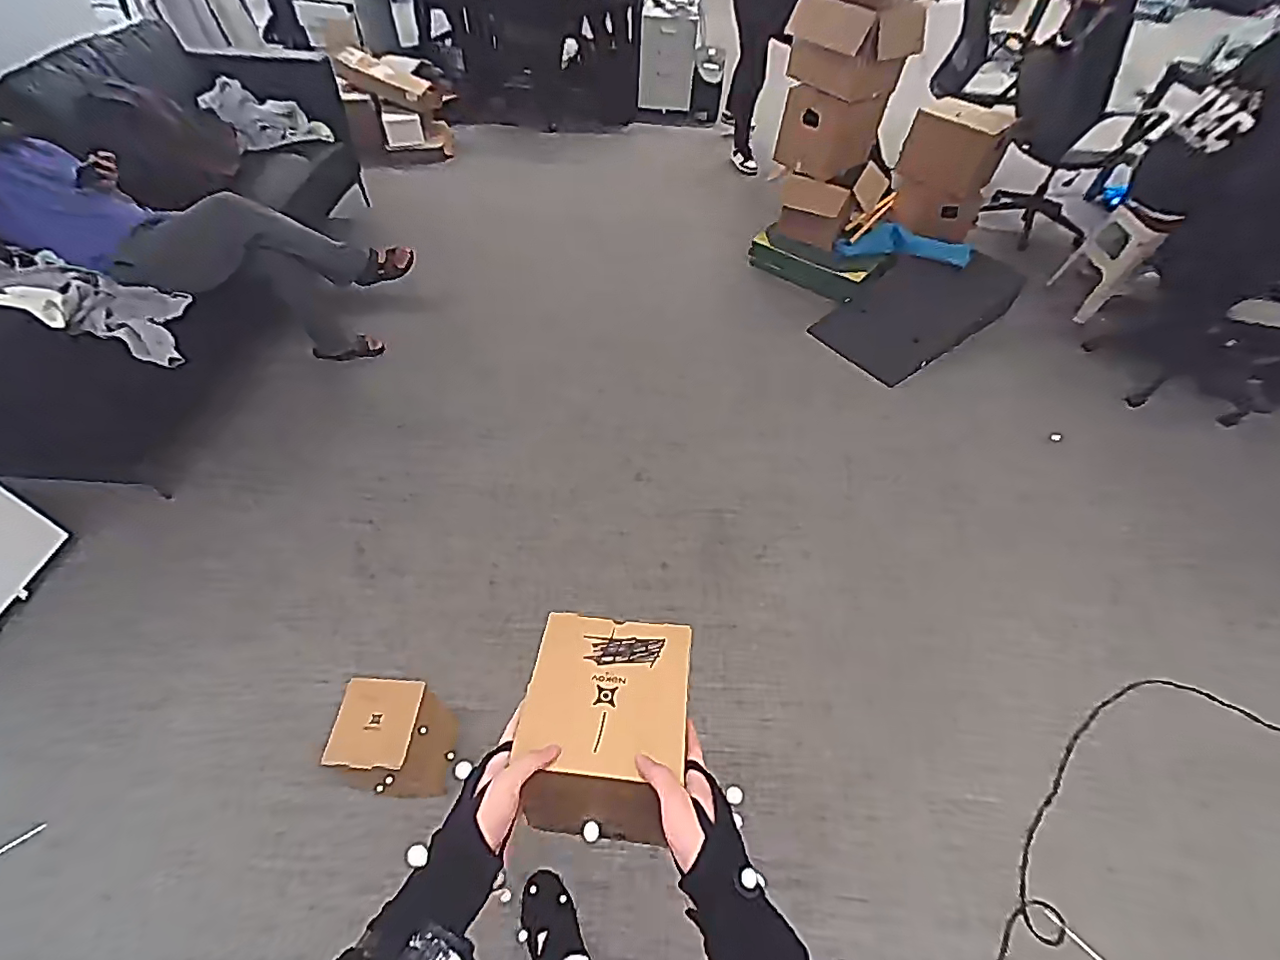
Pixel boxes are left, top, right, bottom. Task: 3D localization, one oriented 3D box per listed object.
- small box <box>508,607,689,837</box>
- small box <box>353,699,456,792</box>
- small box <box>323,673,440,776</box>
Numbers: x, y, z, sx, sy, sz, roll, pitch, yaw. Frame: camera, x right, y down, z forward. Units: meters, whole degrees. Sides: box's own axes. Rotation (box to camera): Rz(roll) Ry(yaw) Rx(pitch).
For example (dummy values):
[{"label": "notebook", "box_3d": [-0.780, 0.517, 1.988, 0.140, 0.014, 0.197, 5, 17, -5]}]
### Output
[{"label": "small box", "box_3d": [-0.036, 0.272, 0.615, 0.168, 0.176, 0.179, 4, 41, 5]}, {"label": "small box", "box_3d": [-0.566, 0.648, 1.328, 0.168, 0.176, 0.179, 4, 51, 1]}, {"label": "small box", "box_3d": [-0.560, 0.547, 1.202, 0.168, 0.176, 0.179, 3, 50, -2]}]
